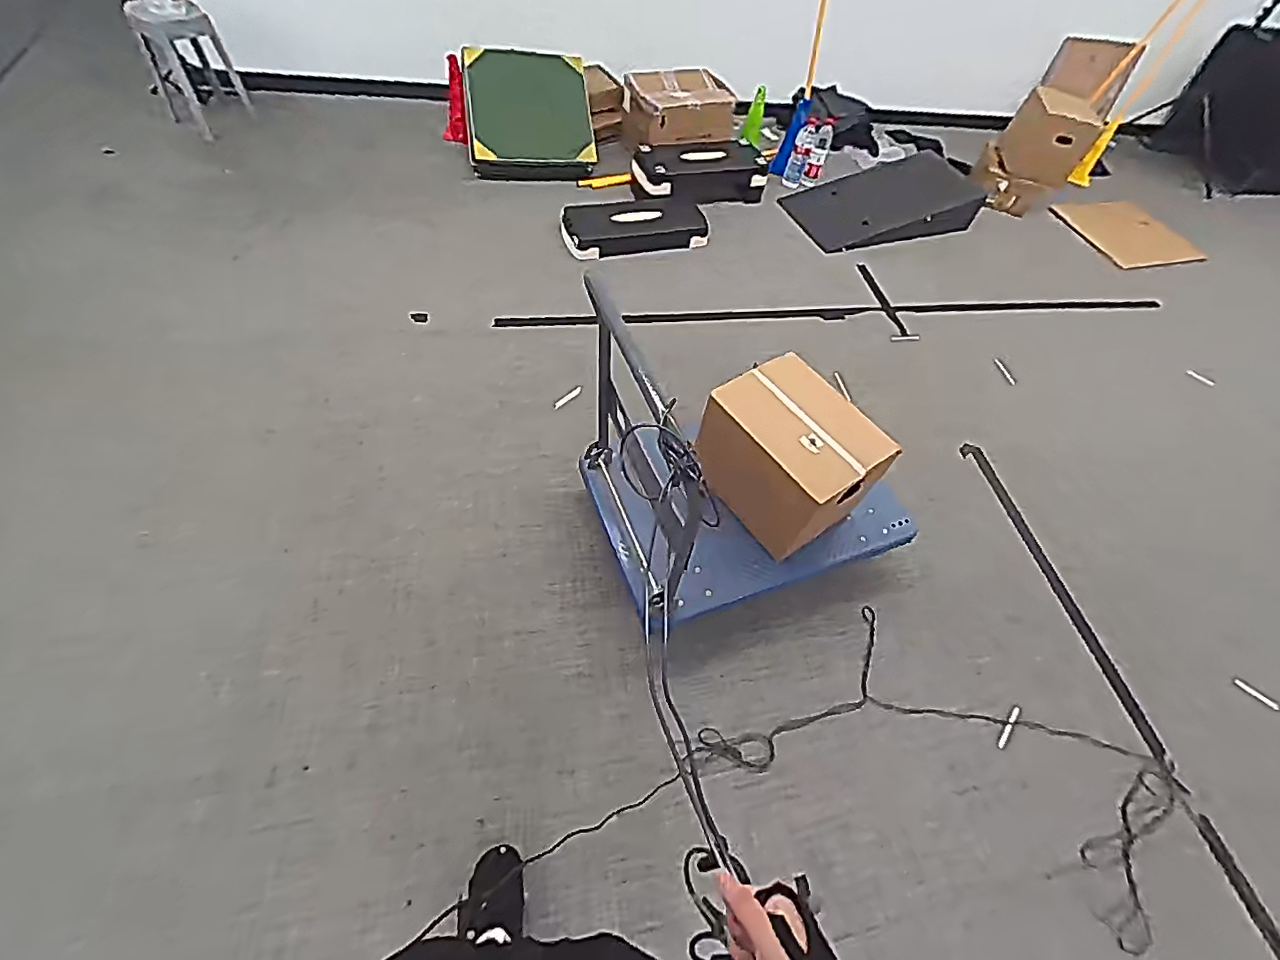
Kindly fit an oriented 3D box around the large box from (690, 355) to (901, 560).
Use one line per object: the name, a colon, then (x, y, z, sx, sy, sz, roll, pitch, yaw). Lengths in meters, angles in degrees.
large box: (0.398, -0.062, 1.484, 0.320, 0.320, 0.408, -29, 65, -23)
